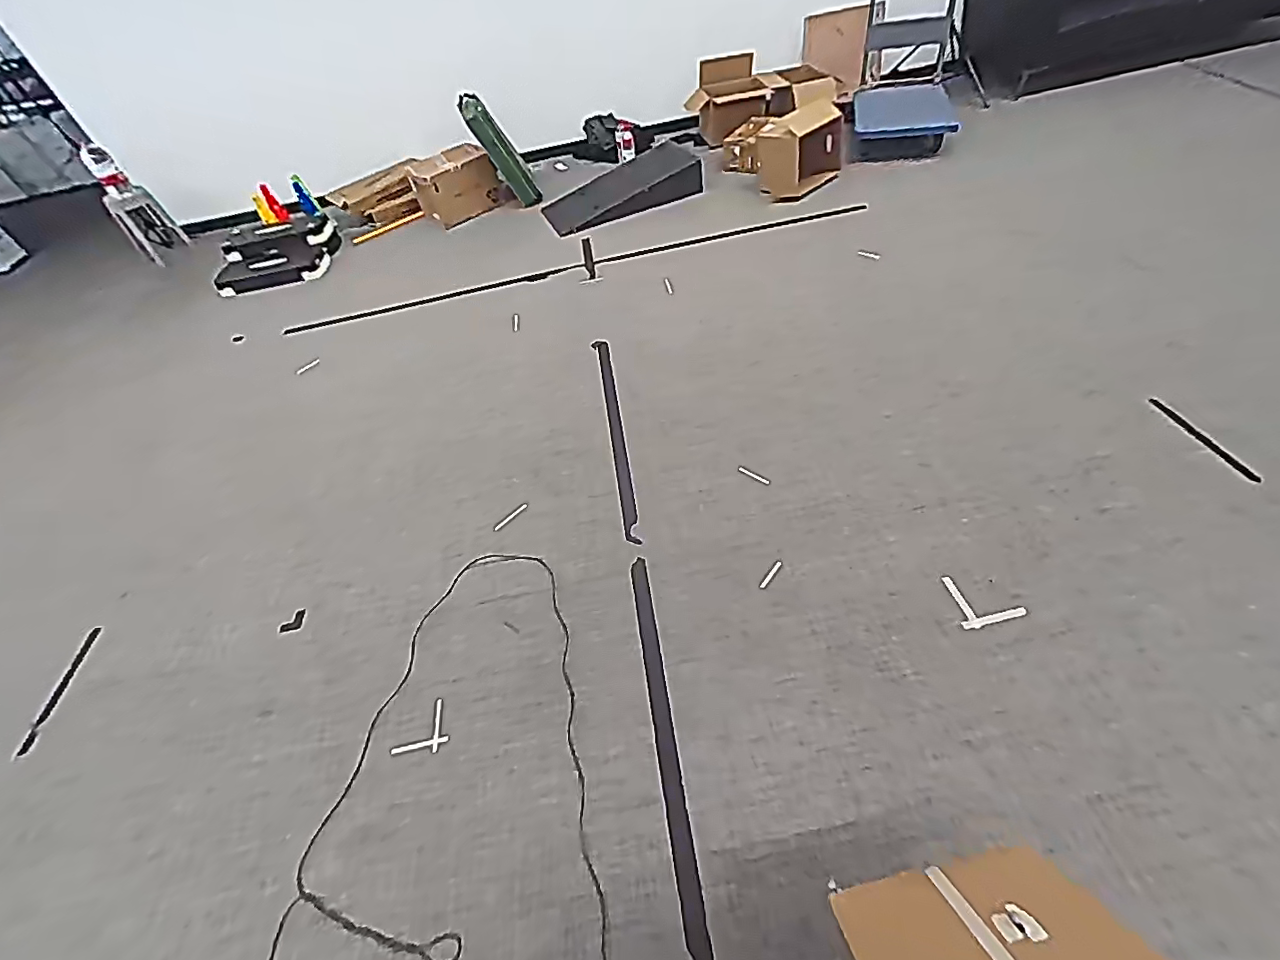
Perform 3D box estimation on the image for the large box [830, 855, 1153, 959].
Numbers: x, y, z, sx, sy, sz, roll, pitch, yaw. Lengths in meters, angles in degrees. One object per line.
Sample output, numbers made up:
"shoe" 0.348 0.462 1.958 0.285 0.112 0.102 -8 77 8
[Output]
"large box" 0.460 0.714 0.589 0.320 0.408 0.320 -13 83 1
